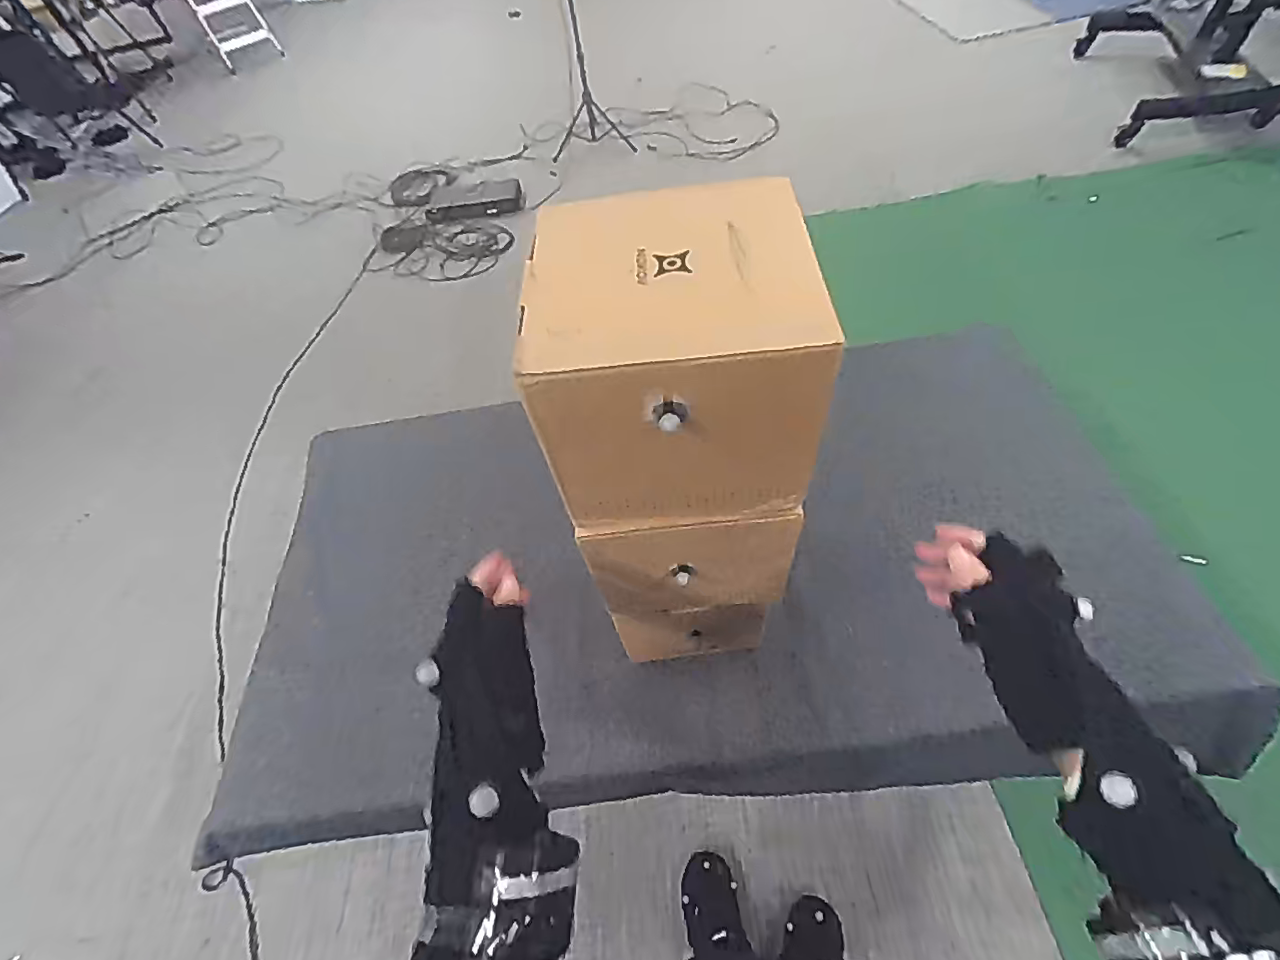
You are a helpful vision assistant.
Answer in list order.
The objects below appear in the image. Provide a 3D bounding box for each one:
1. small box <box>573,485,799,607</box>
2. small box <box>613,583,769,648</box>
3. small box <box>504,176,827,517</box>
[{"bbox_3d":[0.040,0.011,0.521,0.179,0.176,0.168,-8,55,5],"label":"small box"},{"bbox_3d":[0.056,0.096,0.662,0.168,0.176,0.179,-10,56,3],"label":"small box"},{"bbox_3d":[0.020,-0.084,0.393,0.179,0.176,0.168,-6,57,5],"label":"small box"}]
